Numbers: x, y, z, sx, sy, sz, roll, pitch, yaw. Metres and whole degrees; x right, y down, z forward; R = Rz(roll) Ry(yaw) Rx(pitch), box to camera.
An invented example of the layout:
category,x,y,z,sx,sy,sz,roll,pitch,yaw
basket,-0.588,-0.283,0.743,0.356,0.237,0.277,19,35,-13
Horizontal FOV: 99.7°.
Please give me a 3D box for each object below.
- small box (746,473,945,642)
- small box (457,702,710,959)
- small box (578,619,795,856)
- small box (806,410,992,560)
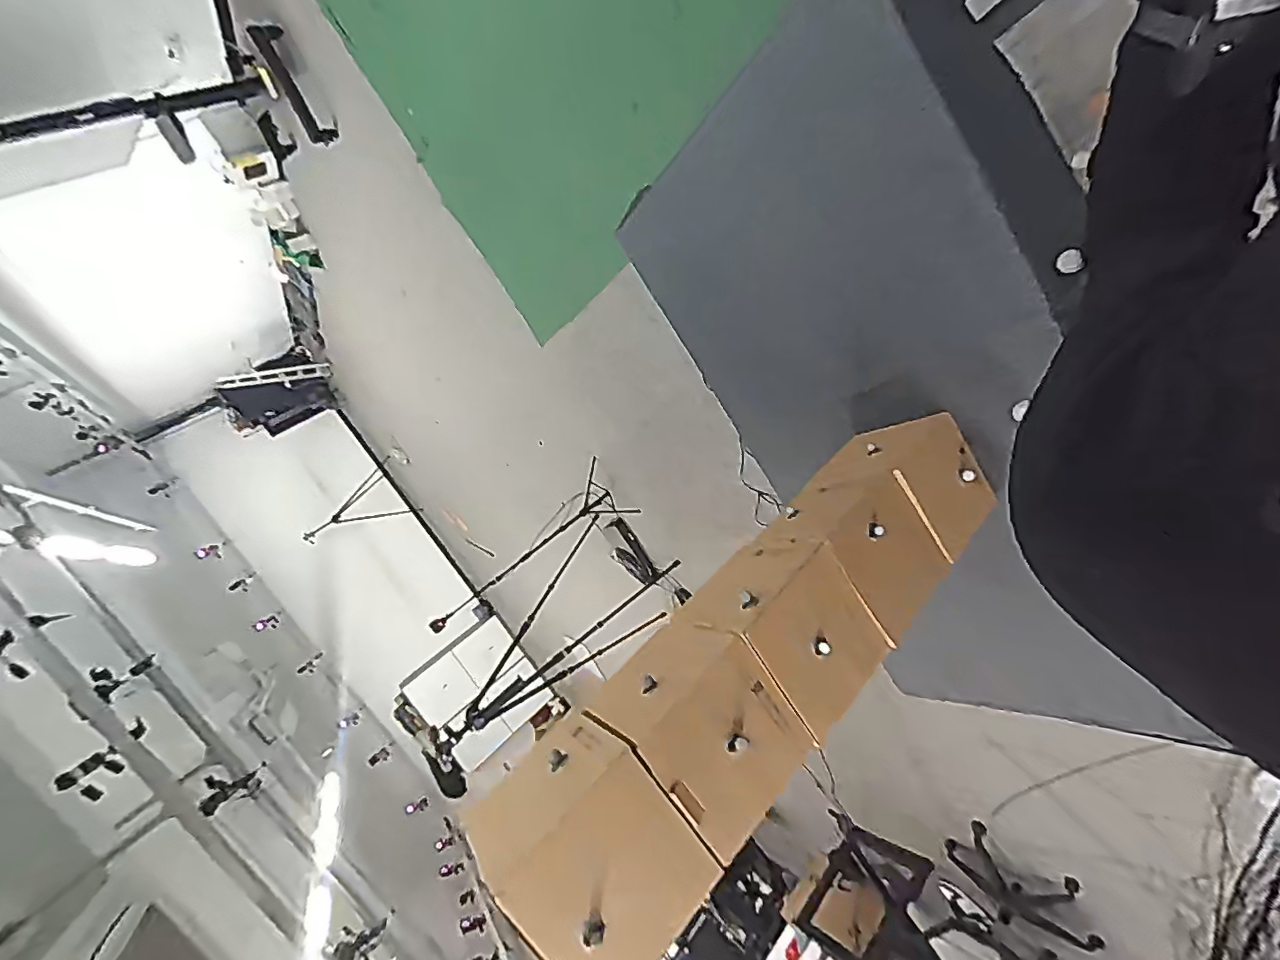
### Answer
category,x,y,z,sx,sy,sz,roll,pitch,yaw
small box,0.295,0.104,0.780,0.179,0.176,0.168,56,153,-7
small box,-0.059,0.372,0.567,0.179,0.176,0.168,56,153,-8
small box,0.057,0.285,0.646,0.168,0.176,0.179,56,152,-7
small box,0.408,0.013,0.854,0.168,0.176,0.179,57,151,-9
